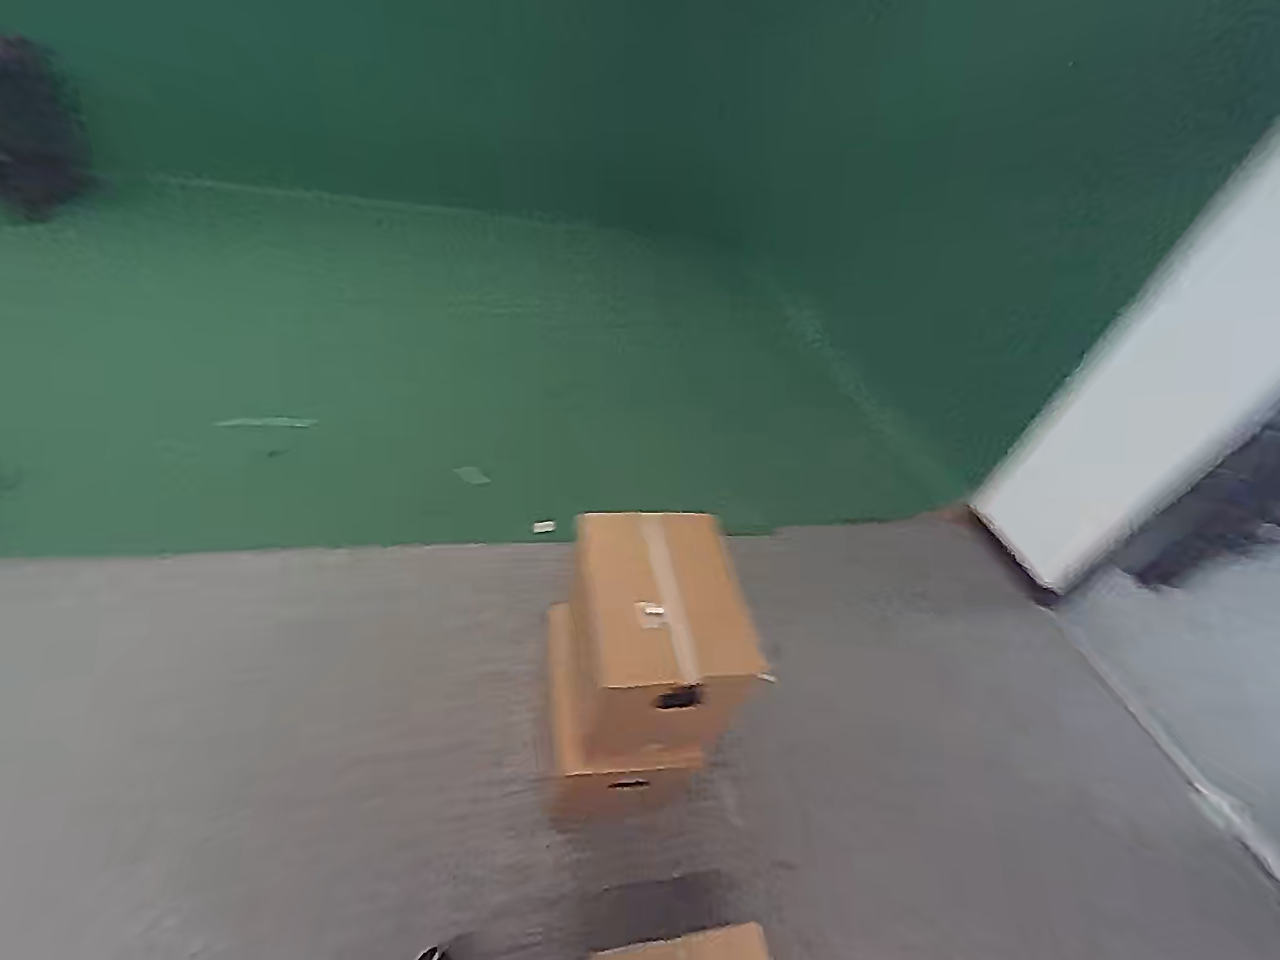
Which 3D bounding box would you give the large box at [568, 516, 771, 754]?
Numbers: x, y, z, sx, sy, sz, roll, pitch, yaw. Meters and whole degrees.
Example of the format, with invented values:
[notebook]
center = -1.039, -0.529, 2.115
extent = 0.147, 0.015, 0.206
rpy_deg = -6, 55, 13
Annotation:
[large box]
center = 0.028, 0.331, 1.192
extent = 0.320, 0.320, 0.408
rpy_deg = 3, 44, -16
